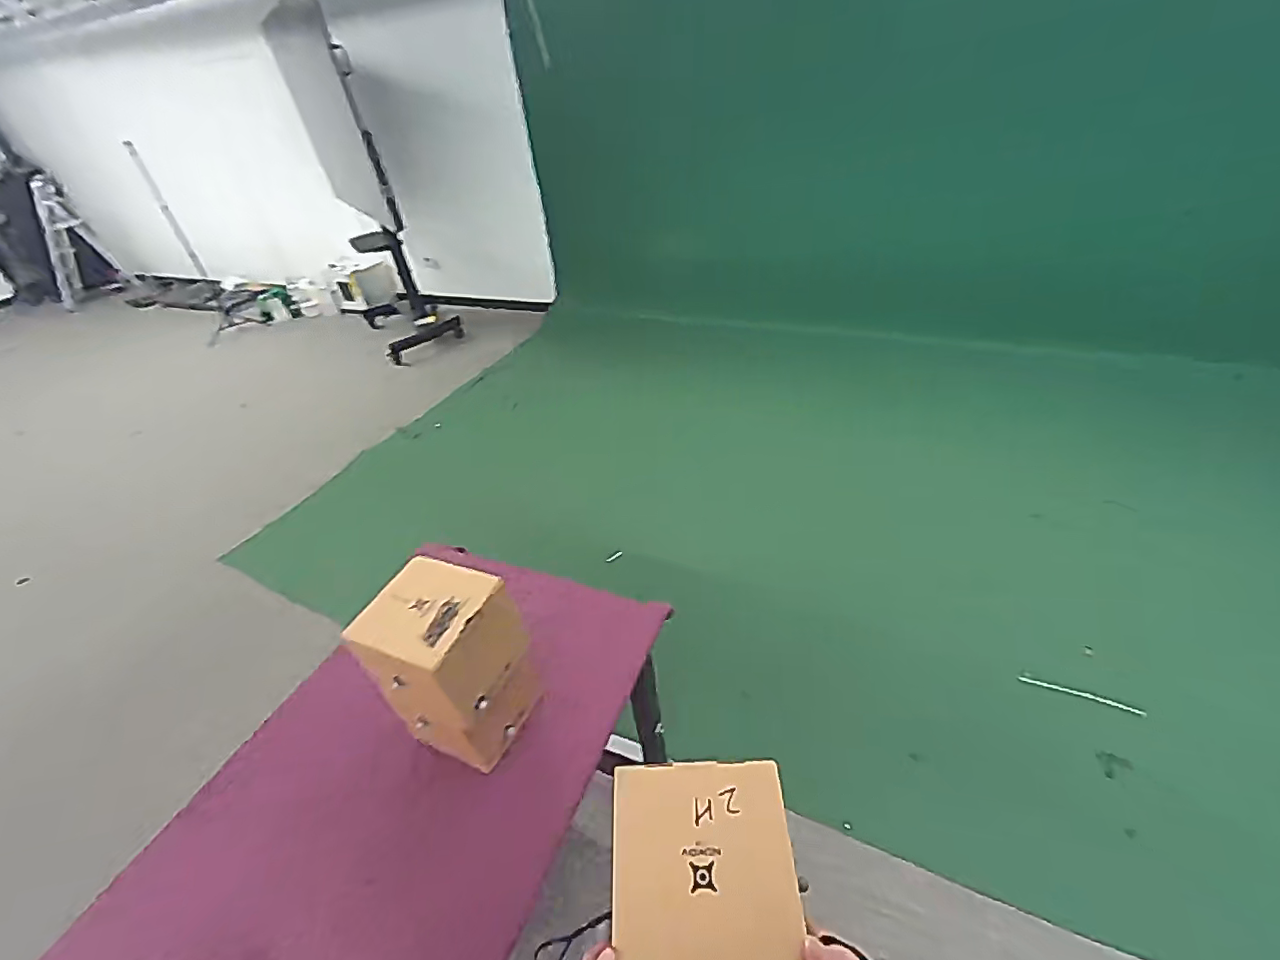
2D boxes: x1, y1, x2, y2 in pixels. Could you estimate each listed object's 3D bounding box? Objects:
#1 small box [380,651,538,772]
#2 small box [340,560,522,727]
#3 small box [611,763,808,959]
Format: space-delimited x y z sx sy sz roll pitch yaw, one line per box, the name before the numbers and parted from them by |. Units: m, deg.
small box | -0.308 0.377 0.953 0.179 0.176 0.168 12 43 24
small box | -0.310 0.255 0.843 0.179 0.176 0.168 9 42 23
small box | 0.064 0.407 0.545 0.168 0.176 0.179 -3 44 3
